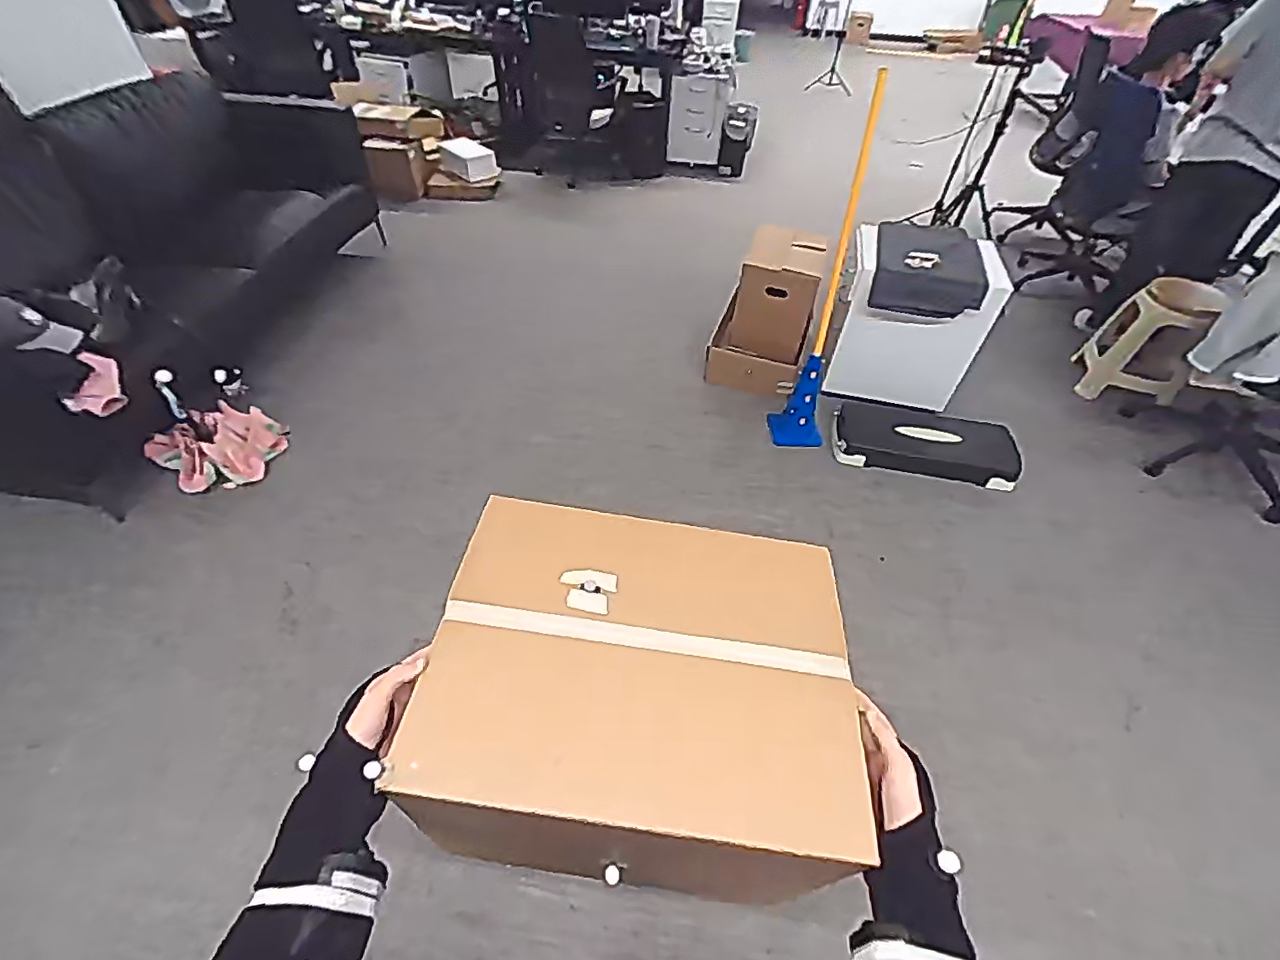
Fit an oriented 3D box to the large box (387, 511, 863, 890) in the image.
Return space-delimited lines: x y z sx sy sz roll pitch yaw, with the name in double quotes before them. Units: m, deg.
"large box" -0.009 0.271 0.652 0.408 0.320 0.320 8 47 0
